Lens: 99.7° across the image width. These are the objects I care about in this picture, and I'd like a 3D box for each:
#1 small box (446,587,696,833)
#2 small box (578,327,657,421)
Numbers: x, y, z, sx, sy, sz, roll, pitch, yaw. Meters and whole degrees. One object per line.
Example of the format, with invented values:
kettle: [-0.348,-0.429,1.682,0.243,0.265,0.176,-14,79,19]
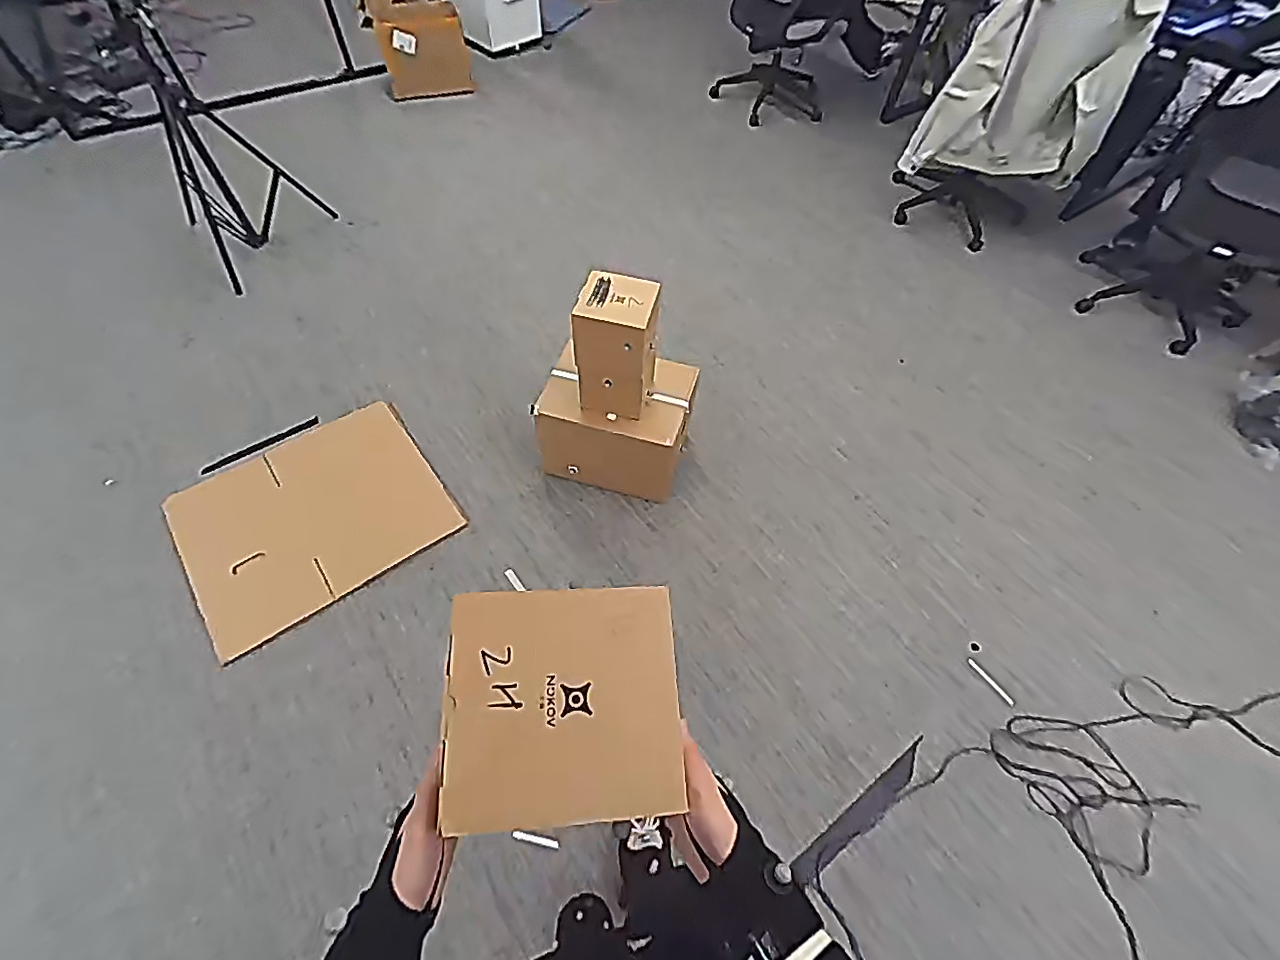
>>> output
small box: [-0.060,0.194,0.479,0.179,0.176,0.168,-1,67,-8]
small box: [-0.060,-0.283,1.465,0.179,0.176,0.168,13,58,5]
